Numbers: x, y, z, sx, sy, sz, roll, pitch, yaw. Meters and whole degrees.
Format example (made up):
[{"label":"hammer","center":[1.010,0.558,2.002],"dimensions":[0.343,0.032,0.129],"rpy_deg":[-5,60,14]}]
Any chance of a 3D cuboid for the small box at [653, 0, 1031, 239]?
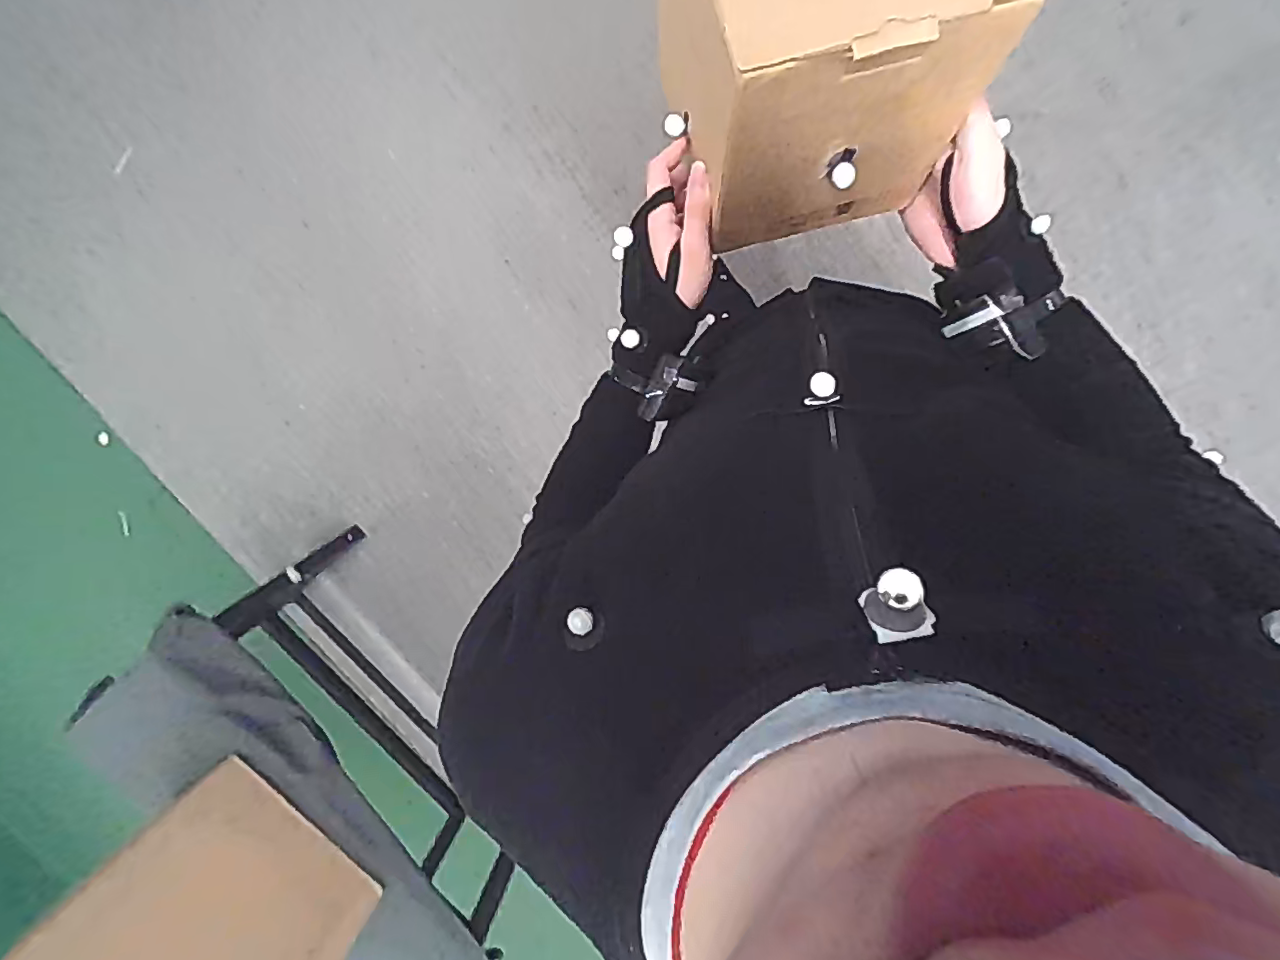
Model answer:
[{"label":"small box","center":[0.105,-0.289,0.364],"dimensions":[0.168,0.176,0.179],"rpy_deg":[-13,82,1]}]
